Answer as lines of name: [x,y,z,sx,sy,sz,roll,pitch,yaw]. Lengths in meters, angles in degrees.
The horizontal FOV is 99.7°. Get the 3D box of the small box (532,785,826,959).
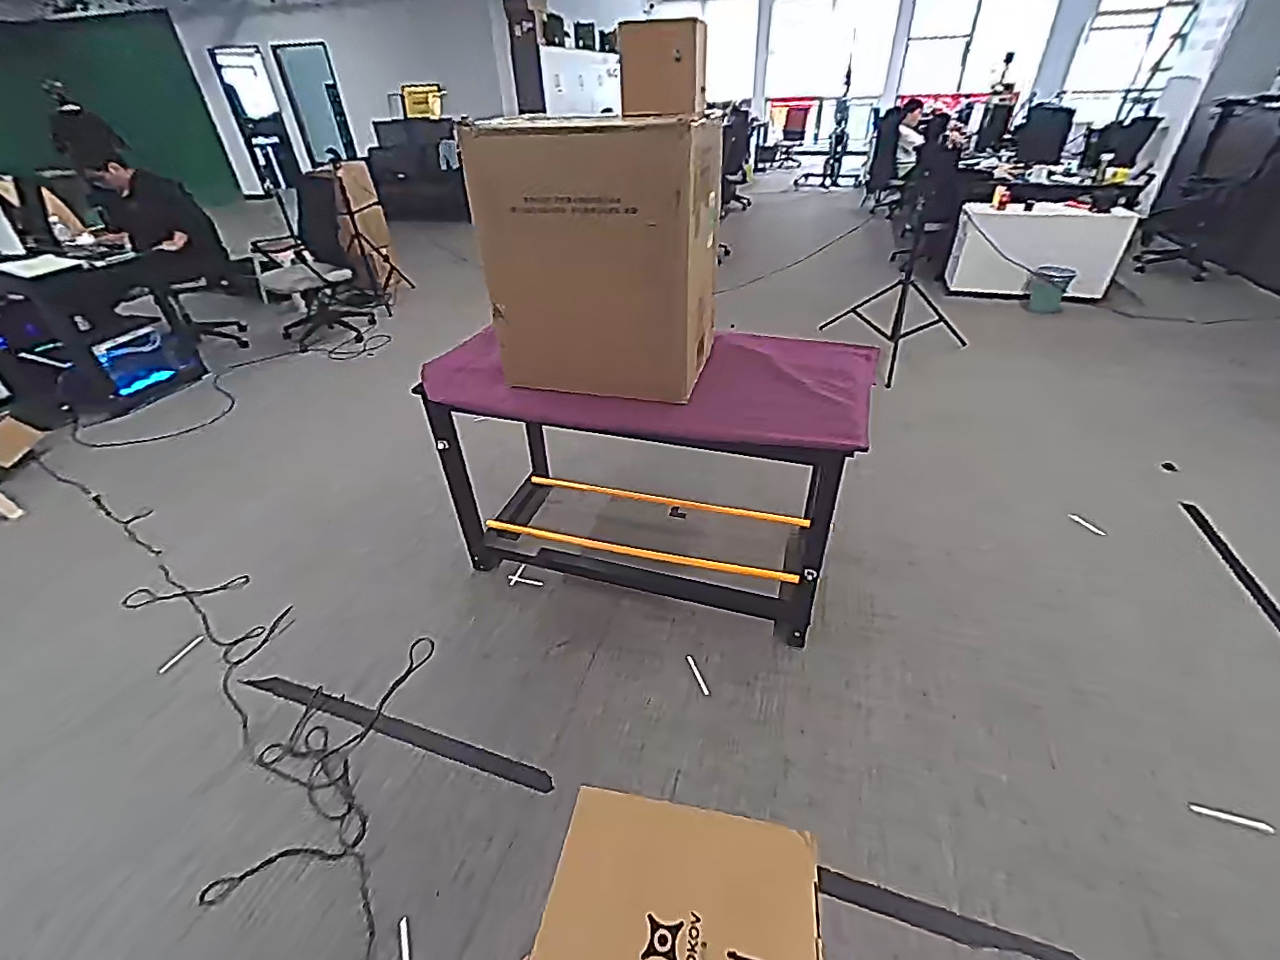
small box: [0.028,0.351,0.377,0.179,0.176,0.168,5,36,11]
